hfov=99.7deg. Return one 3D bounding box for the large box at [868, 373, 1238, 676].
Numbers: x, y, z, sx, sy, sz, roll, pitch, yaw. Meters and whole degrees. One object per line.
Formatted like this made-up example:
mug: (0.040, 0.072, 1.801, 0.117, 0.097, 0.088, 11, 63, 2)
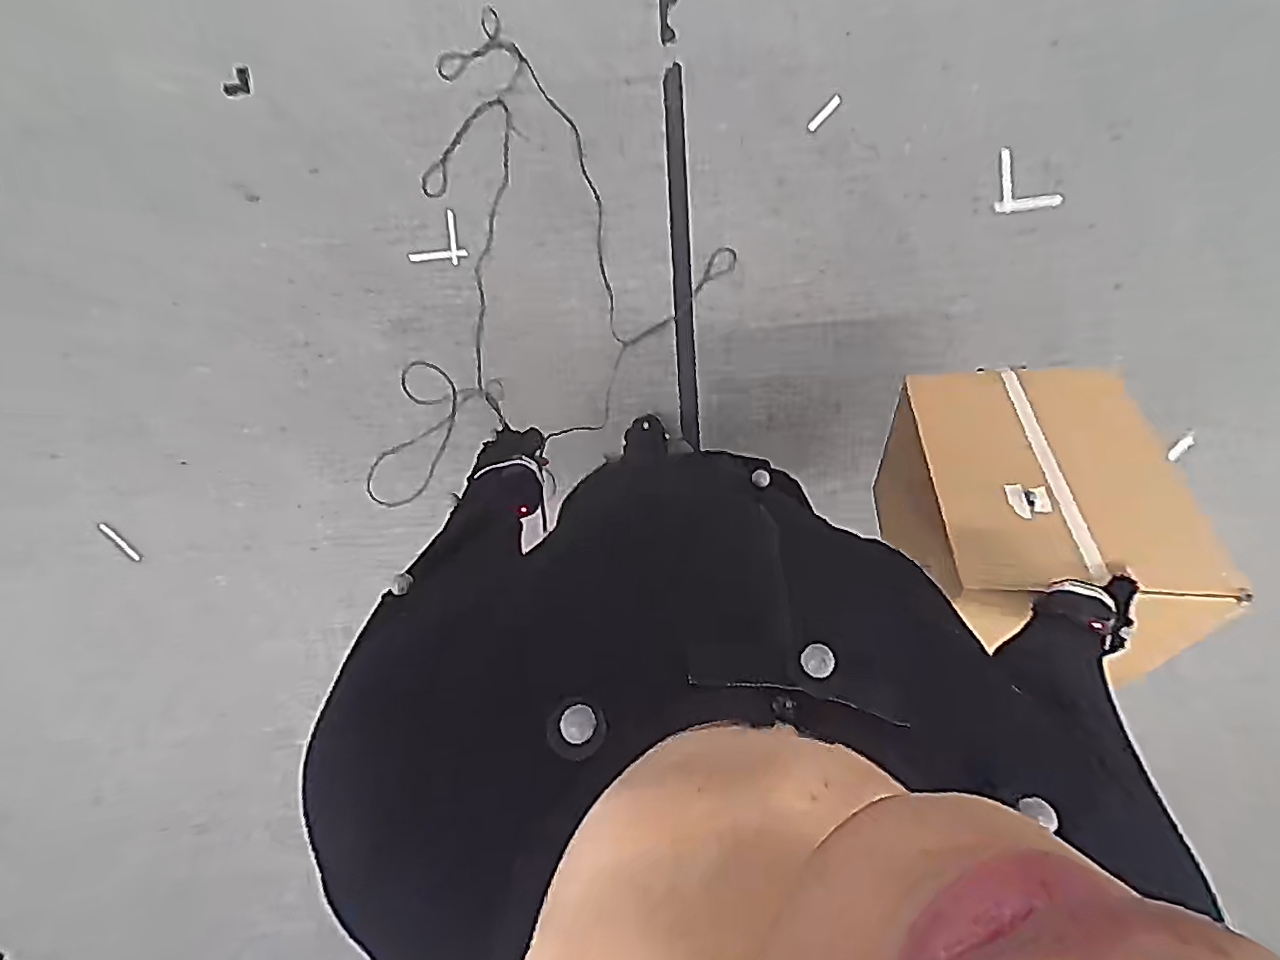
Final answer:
large box: (0.603, 0.073, 0.905, 0.320, 0.320, 0.408, -1, 52, 10)
